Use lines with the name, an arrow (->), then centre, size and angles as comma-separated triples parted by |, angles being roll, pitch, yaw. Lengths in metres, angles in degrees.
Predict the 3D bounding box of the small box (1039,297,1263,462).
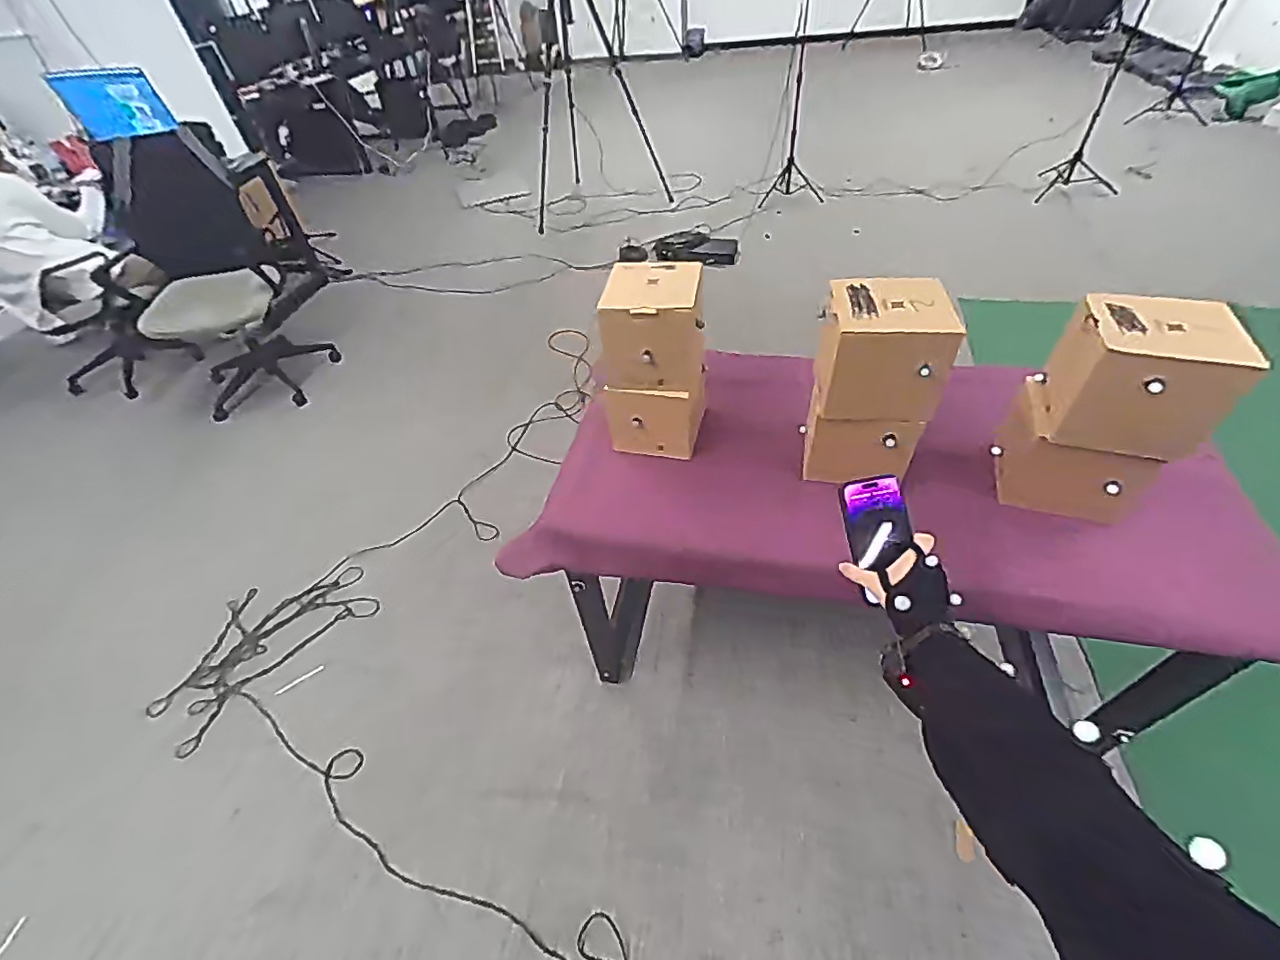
small box -> 0.724, -0.148, 0.799 | 0.179, 0.176, 0.168 | 13, 49, 17

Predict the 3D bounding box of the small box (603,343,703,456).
small box -> 0.036, -0.171, 1.121 | 0.168, 0.176, 0.179 | 8, 48, 14

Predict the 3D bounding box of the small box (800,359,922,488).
small box -> 0.408, -0.104, 1.016 | 0.179, 0.176, 0.168 | 8, 48, 14

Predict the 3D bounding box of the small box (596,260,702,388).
small box -> 0.026, -0.289, 1.007 | 0.168, 0.176, 0.179 | 5, 48, 10

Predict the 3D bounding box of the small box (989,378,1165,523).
small box -> 0.732, -0.048, 0.929 | 0.179, 0.176, 0.168 | 13, 49, 18
